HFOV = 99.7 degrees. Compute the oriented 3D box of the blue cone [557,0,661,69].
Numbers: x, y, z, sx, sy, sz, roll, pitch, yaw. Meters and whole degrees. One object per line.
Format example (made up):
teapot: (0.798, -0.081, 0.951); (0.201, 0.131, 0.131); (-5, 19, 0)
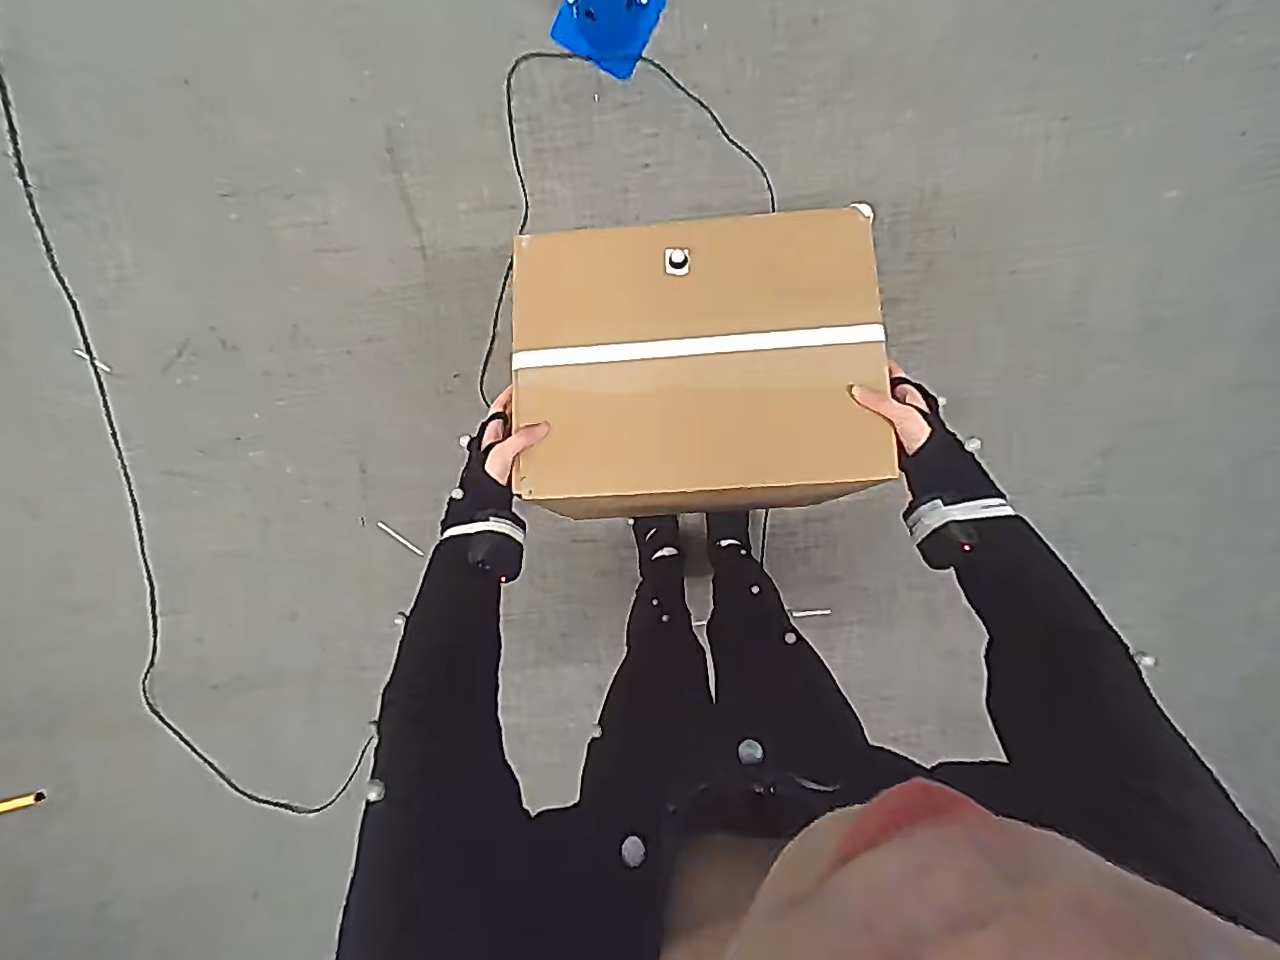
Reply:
blue cone: (-0.070, -0.974, 0.987); (0.192, 0.380, 0.193); (26, 100, -4)
